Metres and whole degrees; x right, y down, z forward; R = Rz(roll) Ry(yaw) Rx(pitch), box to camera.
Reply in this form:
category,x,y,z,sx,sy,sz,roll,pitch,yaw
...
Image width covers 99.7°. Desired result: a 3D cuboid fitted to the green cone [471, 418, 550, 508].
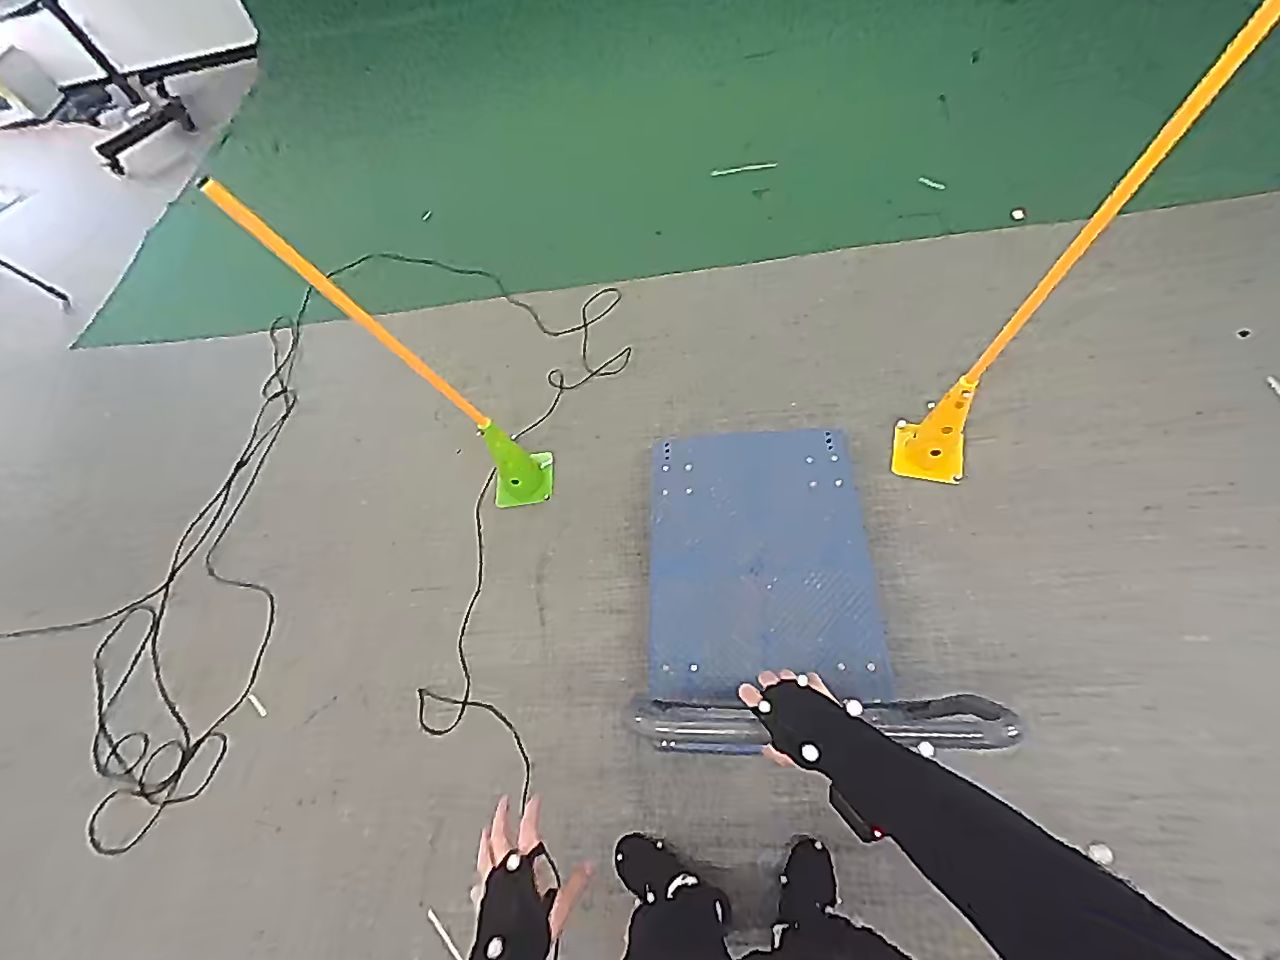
category,x,y,z,sx,sy,sz,roll,pitch,yaw
green cone,-0.440,-0.085,1.742,0.202,0.368,0.200,-9,60,7
